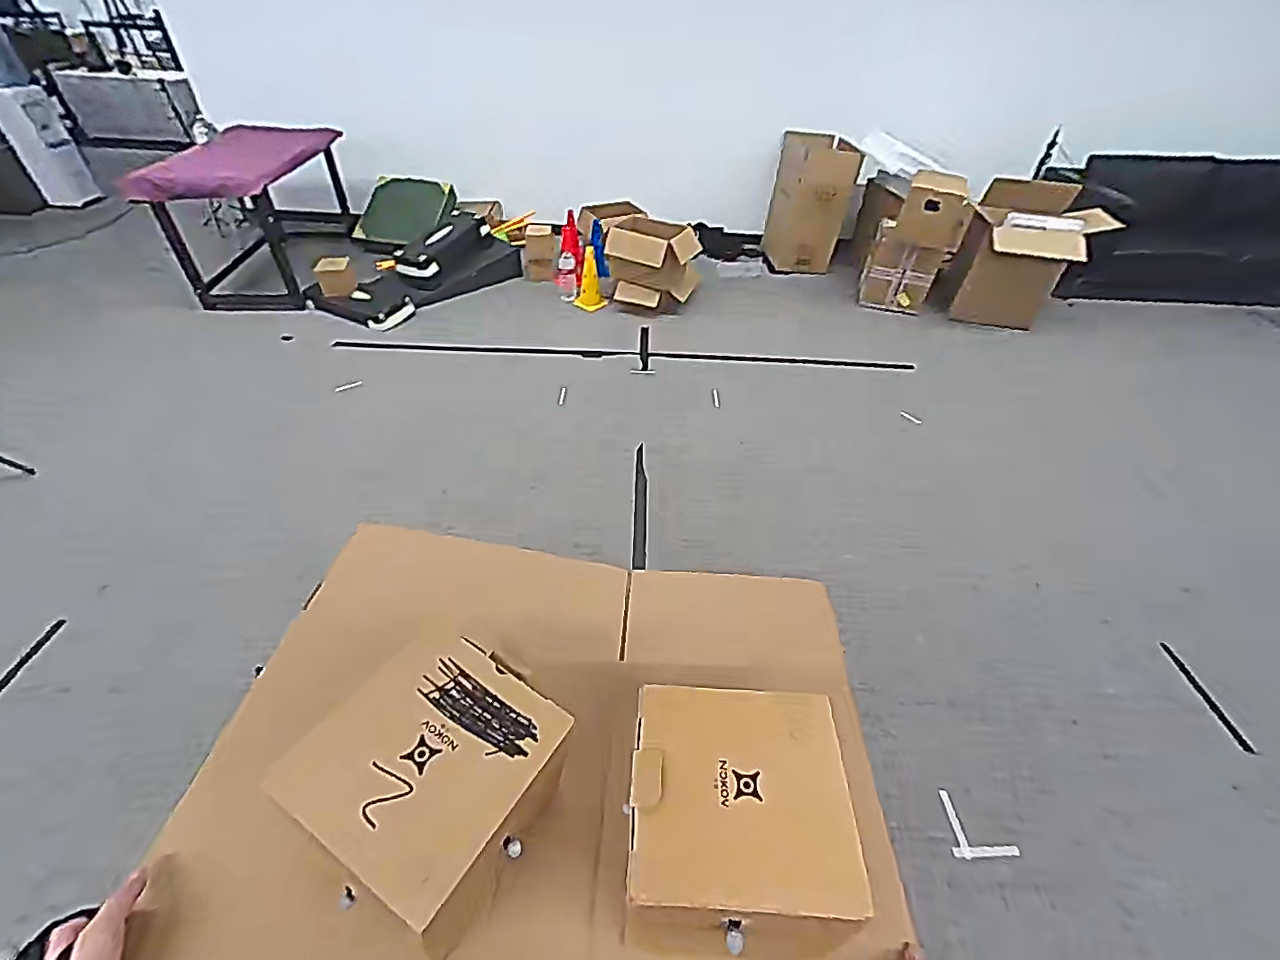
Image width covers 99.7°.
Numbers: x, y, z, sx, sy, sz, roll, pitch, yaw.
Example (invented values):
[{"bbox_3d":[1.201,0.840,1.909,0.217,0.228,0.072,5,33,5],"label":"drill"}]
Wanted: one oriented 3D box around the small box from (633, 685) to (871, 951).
[{"bbox_3d":[0.086,0.314,0.505,0.179,0.176,0.168,2,40,3],"label":"small box"}]
